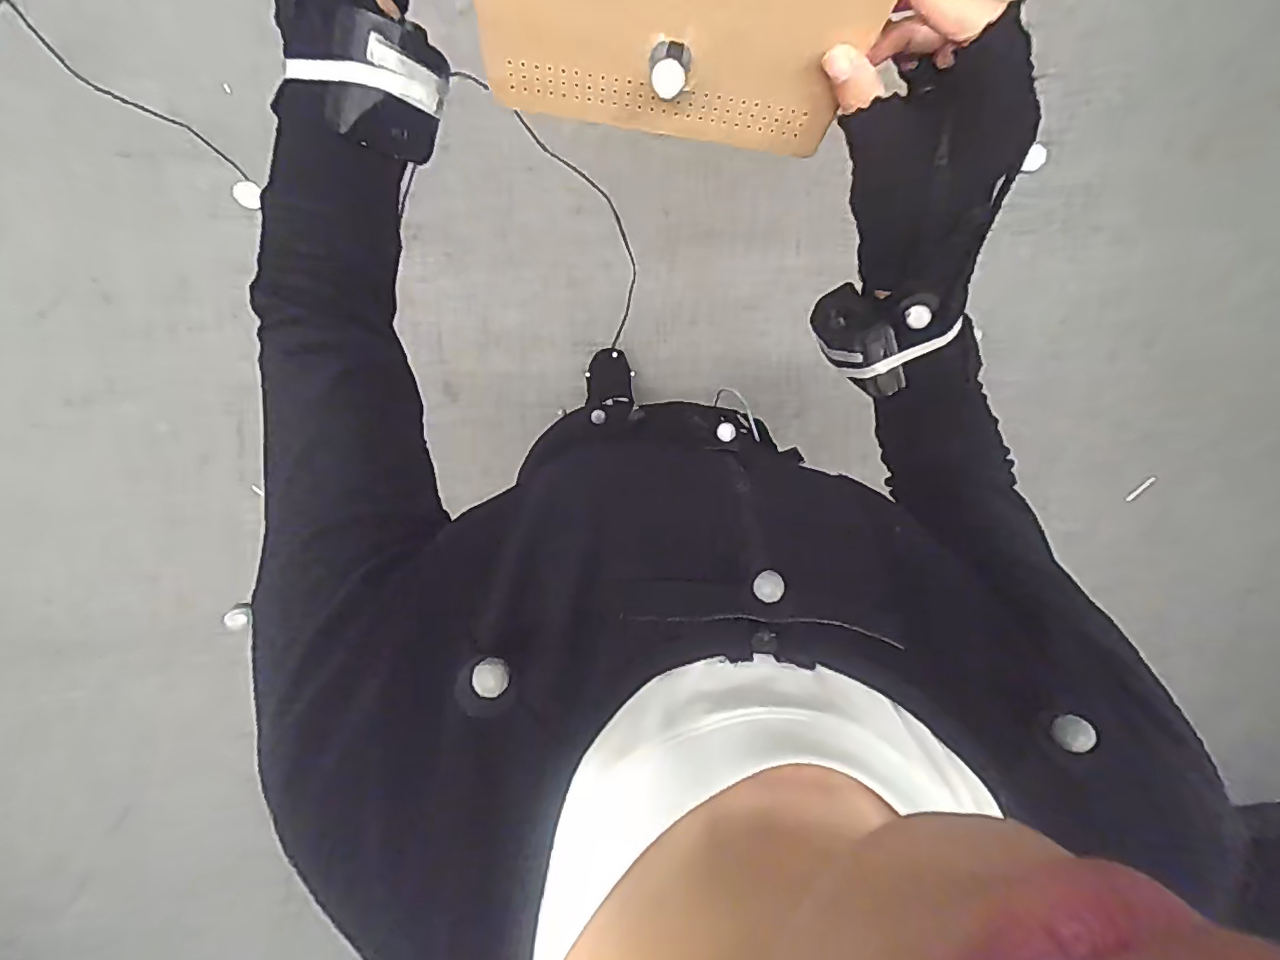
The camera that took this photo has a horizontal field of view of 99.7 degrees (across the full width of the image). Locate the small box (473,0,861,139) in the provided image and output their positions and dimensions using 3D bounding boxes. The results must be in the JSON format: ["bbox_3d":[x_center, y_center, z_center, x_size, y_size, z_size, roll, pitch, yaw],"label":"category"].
[{"bbox_3d":[0.021,-0.289,0.235,0.179,0.176,0.168,6,77,-5],"label":"small box"}]
